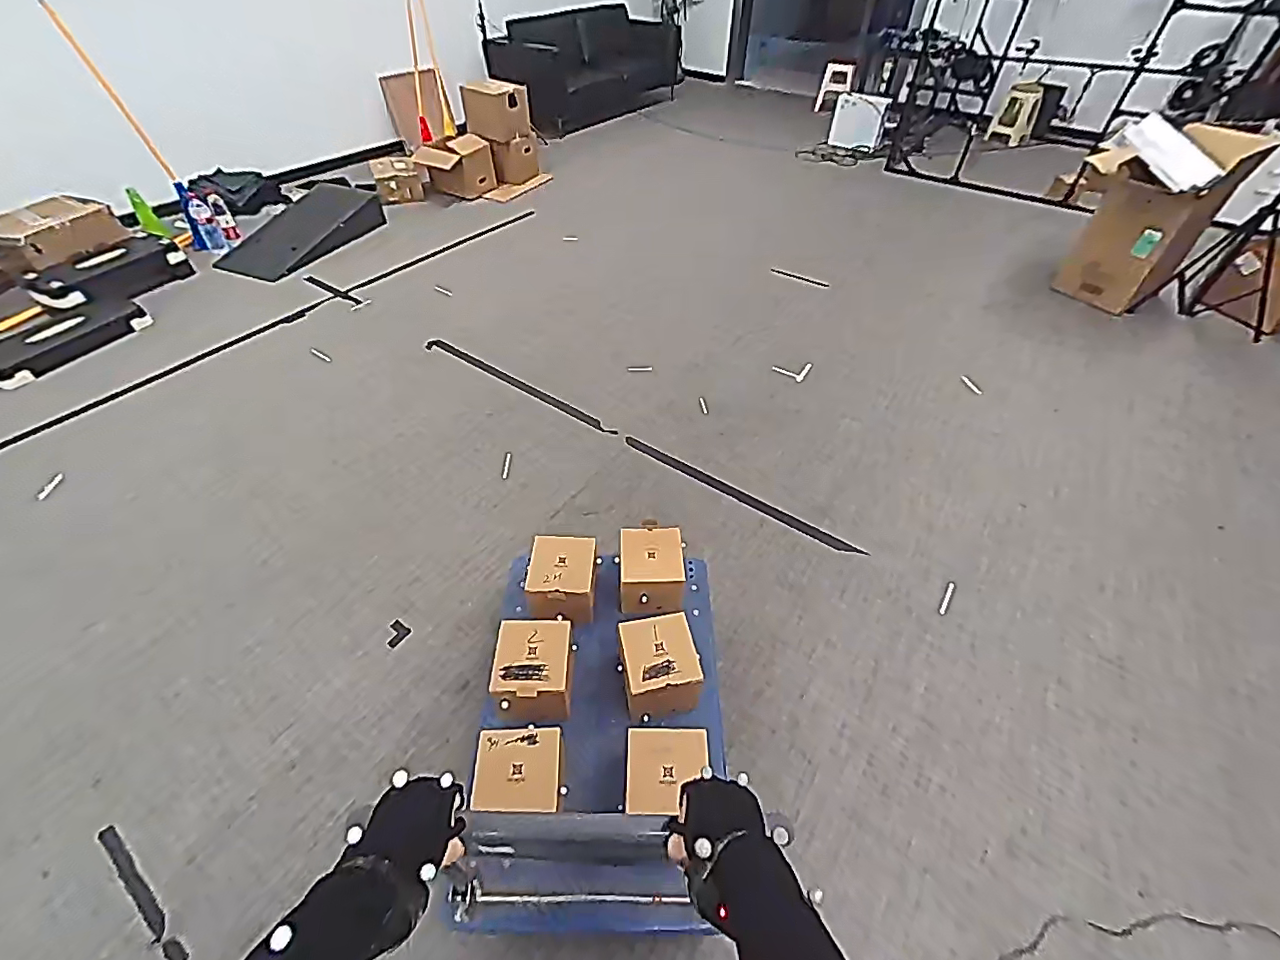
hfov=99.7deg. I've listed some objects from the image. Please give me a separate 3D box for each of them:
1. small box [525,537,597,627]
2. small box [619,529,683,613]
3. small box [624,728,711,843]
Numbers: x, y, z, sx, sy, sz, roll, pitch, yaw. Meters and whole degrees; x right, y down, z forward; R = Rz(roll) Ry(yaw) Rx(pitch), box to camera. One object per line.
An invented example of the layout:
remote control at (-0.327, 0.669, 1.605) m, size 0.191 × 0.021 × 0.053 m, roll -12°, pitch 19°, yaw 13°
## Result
small box at (-0.206, 0.275, 1.462) m, size 0.168 × 0.176 × 0.179 m, roll 2°, pitch 47°, yaw 1°
small box at (0.027, 0.256, 1.492) m, size 0.168 × 0.176 × 0.179 m, roll -1°, pitch 46°, yaw -3°
small box at (0.053, 0.638, 1.126) m, size 0.168 × 0.176 × 0.179 m, roll 2°, pitch 45°, yaw -1°
